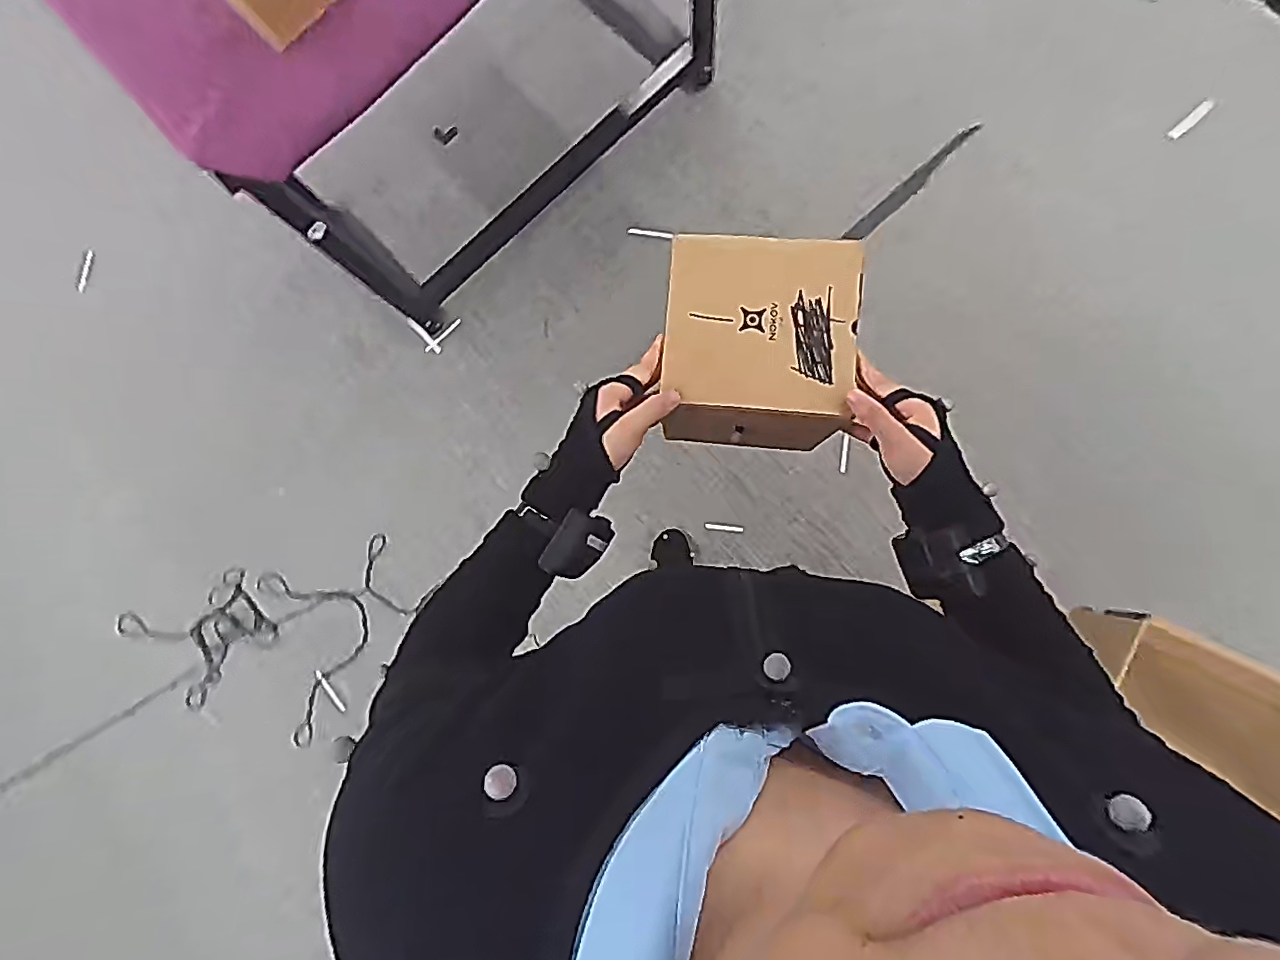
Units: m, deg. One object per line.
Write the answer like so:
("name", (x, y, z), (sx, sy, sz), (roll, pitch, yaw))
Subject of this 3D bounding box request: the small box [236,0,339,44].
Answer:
("small box", (-0.622, -0.878, 0.881), (0.179, 0.176, 0.168), (-45, 82, -2))

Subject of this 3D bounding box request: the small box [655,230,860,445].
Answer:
("small box", (0.112, -0.135, 0.568), (0.179, 0.176, 0.168), (4, 83, 5))
